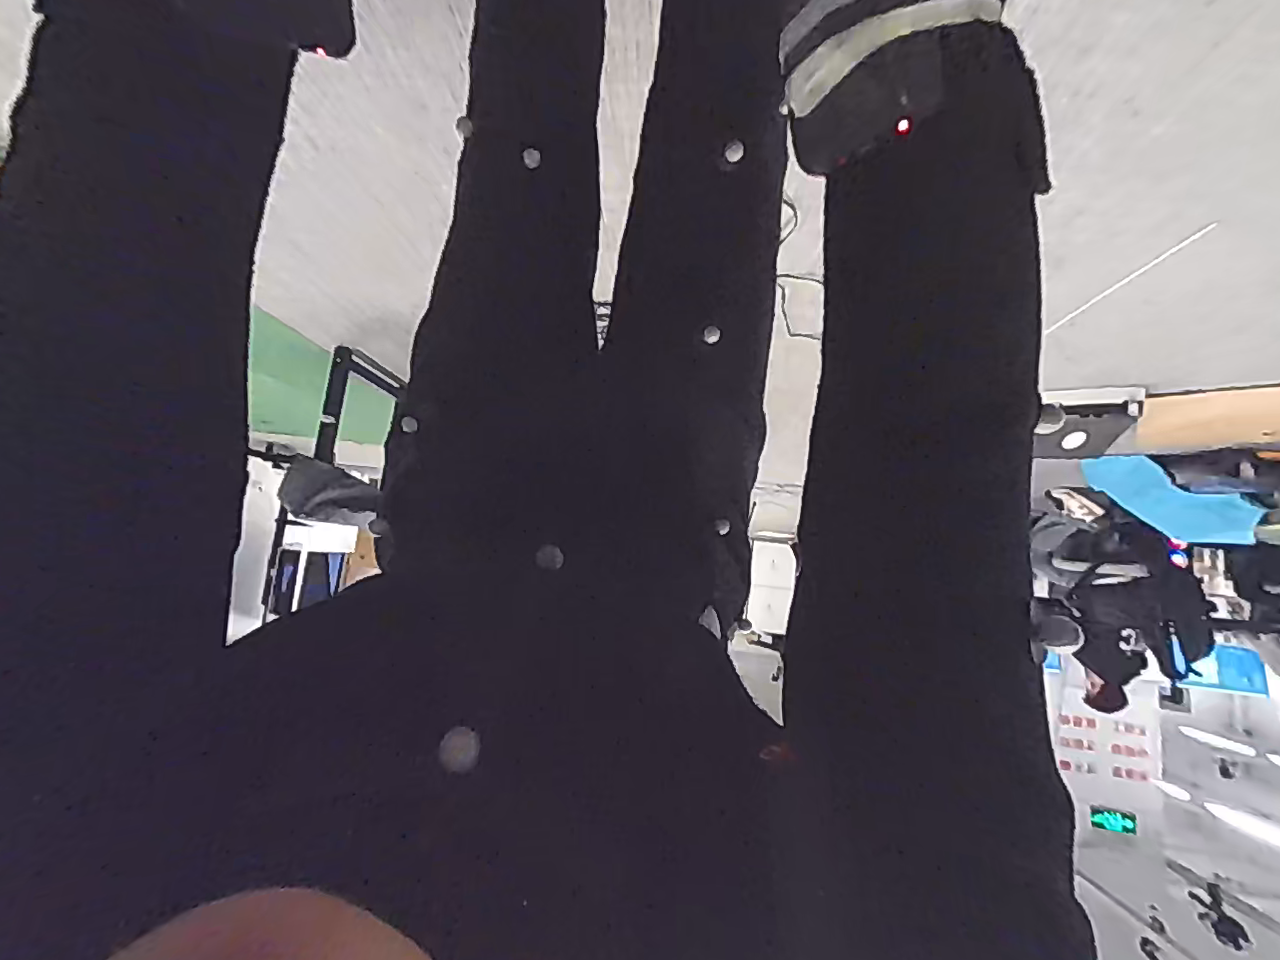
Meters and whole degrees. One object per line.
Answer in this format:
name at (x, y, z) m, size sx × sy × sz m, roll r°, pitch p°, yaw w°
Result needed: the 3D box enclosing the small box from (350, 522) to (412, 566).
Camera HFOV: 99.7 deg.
small box at (-1.075, 0.266, 2.262) m, size 0.179 × 0.176 × 0.168 m, roll 7°, pitch 172°, yaw 2°
